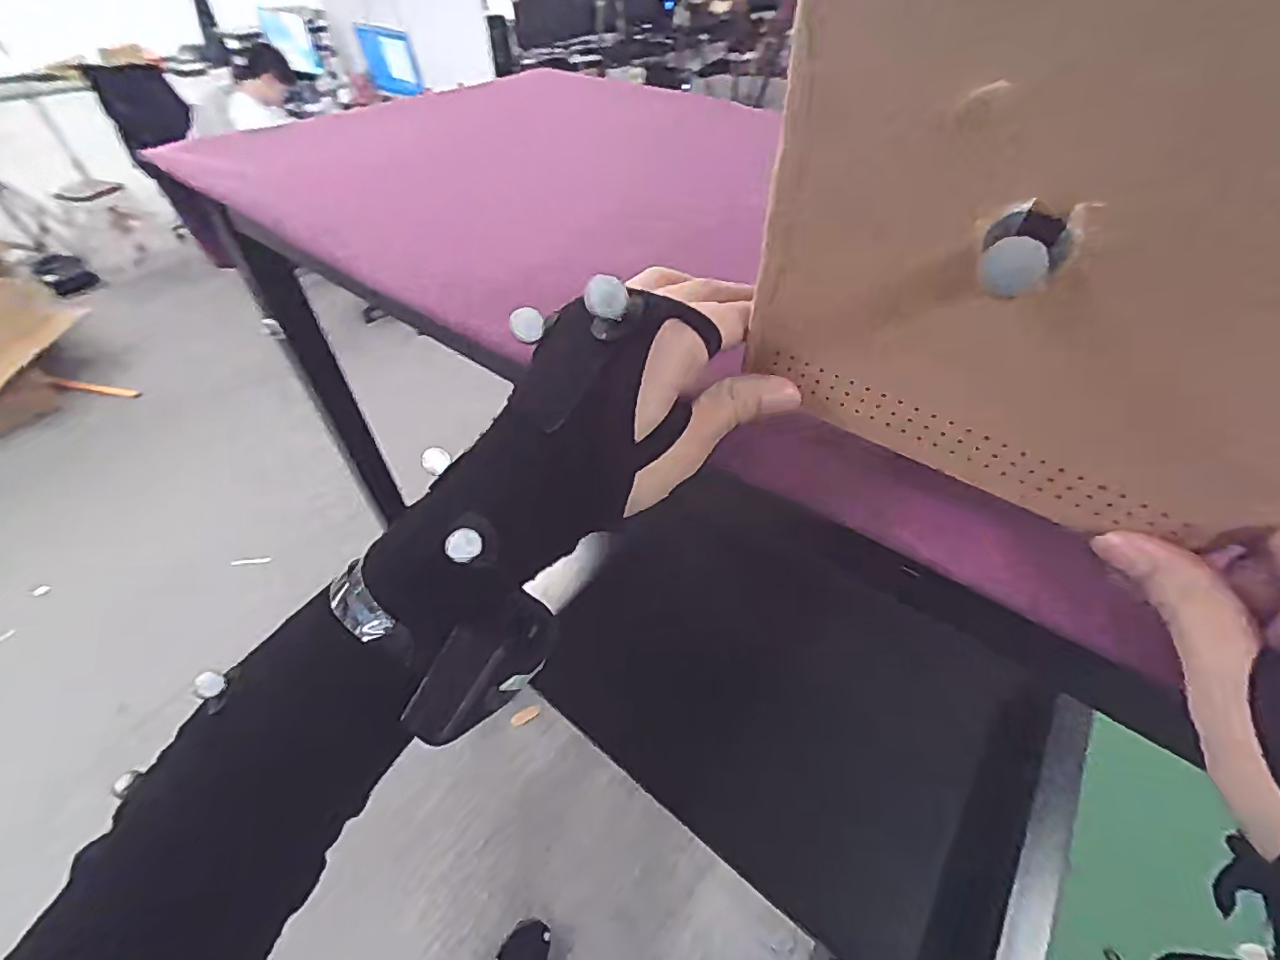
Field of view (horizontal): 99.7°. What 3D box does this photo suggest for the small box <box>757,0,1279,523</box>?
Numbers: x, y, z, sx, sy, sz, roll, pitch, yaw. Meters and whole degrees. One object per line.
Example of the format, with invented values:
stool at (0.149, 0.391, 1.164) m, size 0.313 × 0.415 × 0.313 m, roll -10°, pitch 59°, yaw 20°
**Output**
small box at (0.154, -0.110, 0.182) m, size 0.179 × 0.176 × 0.168 m, roll 26°, pitch 67°, yaw 18°
